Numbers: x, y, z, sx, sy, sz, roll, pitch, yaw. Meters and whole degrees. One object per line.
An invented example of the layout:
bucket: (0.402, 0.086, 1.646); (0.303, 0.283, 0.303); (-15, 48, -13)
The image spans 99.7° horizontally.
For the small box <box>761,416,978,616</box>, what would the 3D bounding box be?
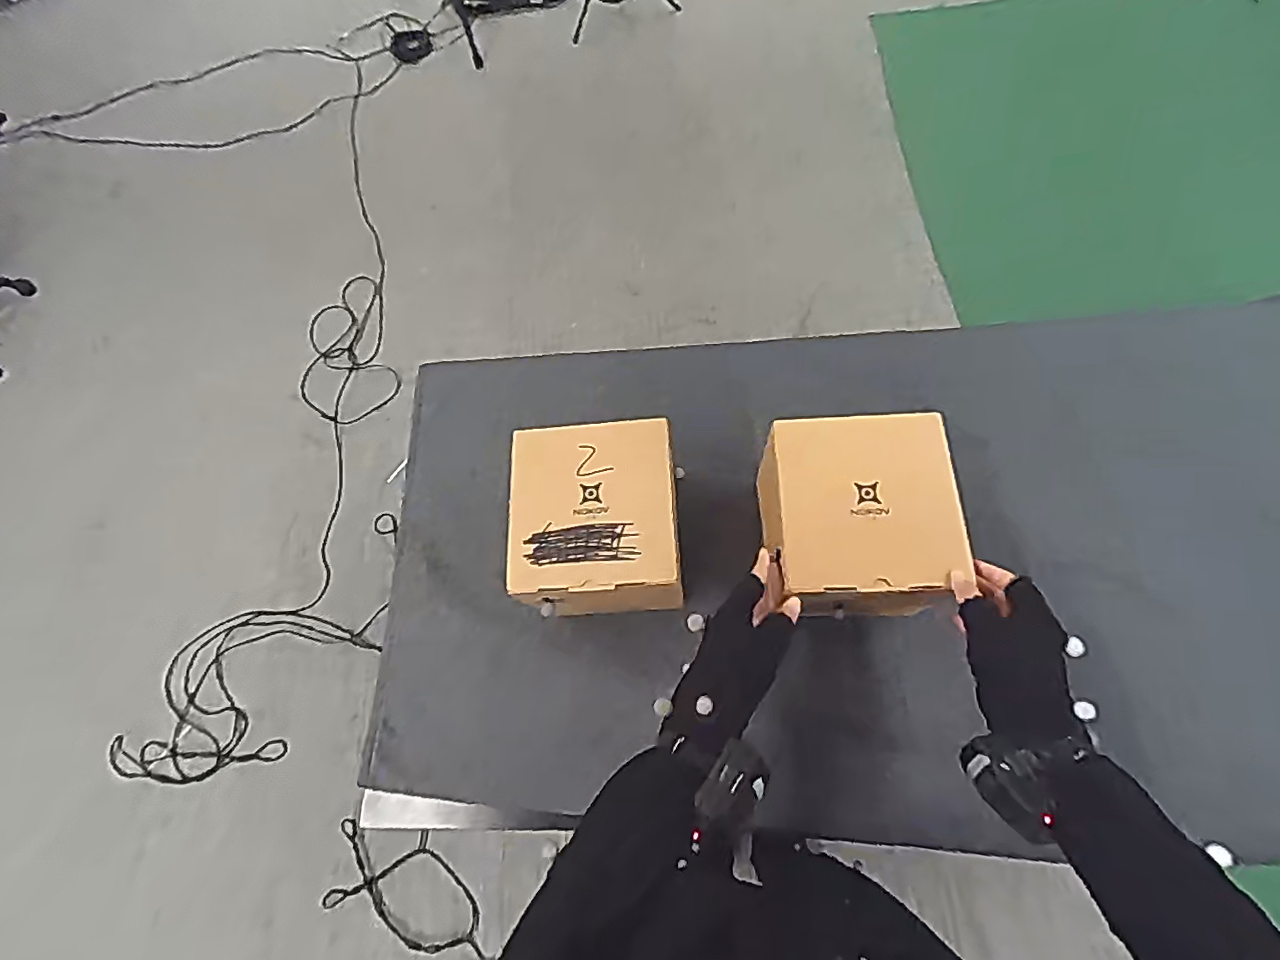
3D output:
small box: (0.226, 0.048, 0.588); (0.168, 0.176, 0.179); (-3, 69, 6)
